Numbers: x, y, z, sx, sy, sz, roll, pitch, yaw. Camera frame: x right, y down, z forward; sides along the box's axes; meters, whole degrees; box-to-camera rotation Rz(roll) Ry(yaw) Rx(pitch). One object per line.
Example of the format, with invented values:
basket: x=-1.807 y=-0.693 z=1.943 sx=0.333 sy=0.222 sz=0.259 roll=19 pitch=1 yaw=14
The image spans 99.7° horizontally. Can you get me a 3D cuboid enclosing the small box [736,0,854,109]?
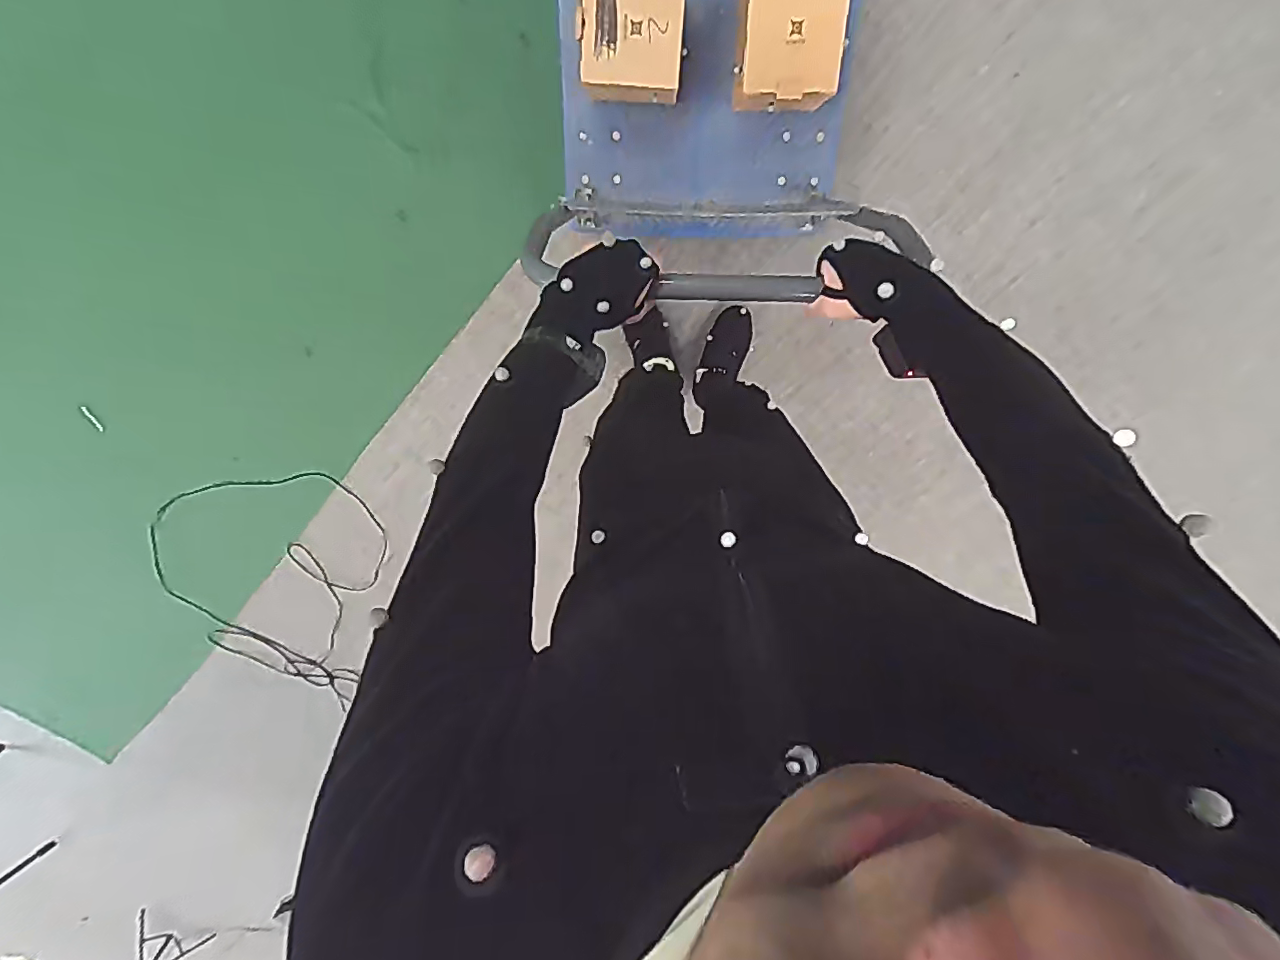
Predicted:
small box: x=0.270 y=-0.787 z=0.973 sx=0.168 sy=0.176 sz=0.179 roll=2 pitch=118 yaw=2
